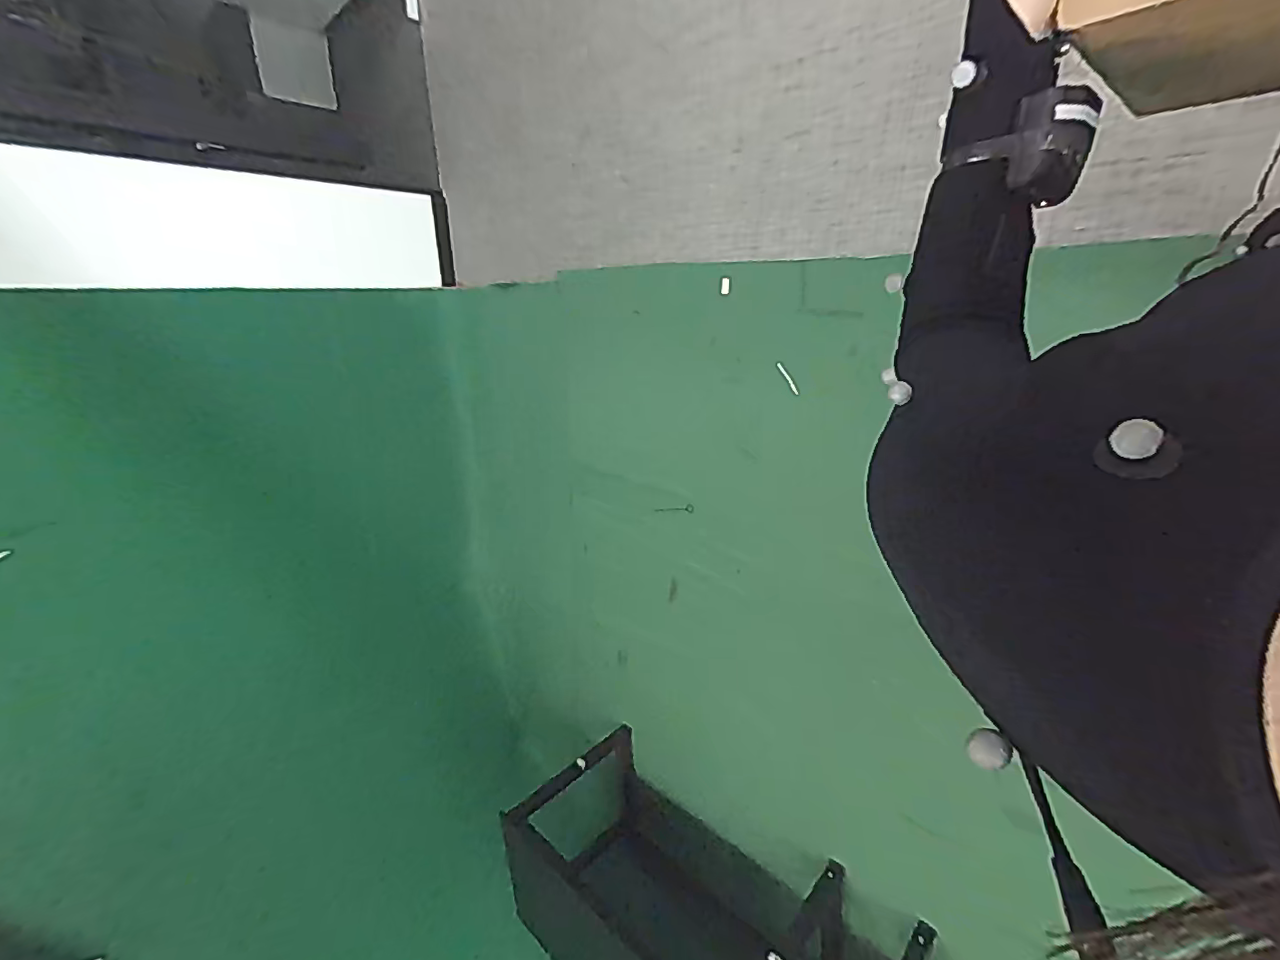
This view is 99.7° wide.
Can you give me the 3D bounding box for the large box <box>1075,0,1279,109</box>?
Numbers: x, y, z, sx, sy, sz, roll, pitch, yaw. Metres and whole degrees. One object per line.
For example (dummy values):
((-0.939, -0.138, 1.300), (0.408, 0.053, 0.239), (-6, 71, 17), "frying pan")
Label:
((0.523, -0.447, 0.272), (0.408, 0.320, 0.320), (17, 117, 44), "large box")
